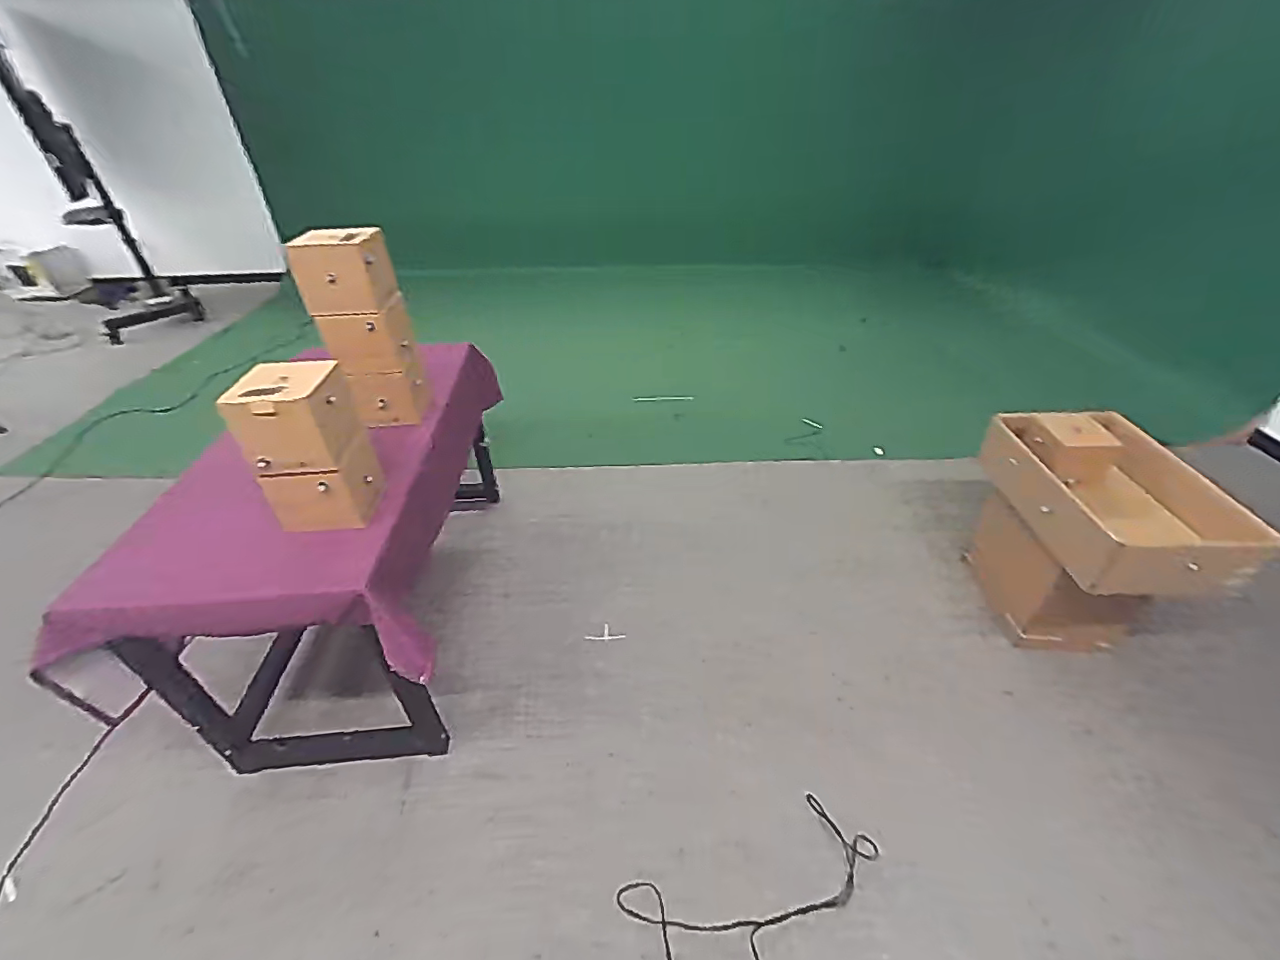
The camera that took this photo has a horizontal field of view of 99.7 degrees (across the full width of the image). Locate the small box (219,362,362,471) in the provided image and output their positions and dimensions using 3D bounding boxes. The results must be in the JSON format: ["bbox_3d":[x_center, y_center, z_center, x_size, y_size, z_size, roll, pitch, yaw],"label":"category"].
[{"bbox_3d":[-0.709,-0.129,1.125,0.168,0.176,0.179,-4,36,-3],"label":"small box"}]

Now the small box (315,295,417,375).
[{"bbox_3d":[-0.739,-0.395,1.480,0.179,0.176,0.168,-3,37,-2],"label":"small box"}]

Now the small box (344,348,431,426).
[{"bbox_3d":[-0.728,-0.268,1.582,0.168,0.176,0.179,-4,38,-3],"label":"small box"}]

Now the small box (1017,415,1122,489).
[{"bbox_3d":[1.322,-0.089,1.683,0.168,0.176,0.179,-1,36,3],"label":"small box"}]

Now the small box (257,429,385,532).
[{"bbox_3d":[-0.706,0.002,1.225,0.179,0.176,0.168,-4,37,-2],"label":"small box"}]
